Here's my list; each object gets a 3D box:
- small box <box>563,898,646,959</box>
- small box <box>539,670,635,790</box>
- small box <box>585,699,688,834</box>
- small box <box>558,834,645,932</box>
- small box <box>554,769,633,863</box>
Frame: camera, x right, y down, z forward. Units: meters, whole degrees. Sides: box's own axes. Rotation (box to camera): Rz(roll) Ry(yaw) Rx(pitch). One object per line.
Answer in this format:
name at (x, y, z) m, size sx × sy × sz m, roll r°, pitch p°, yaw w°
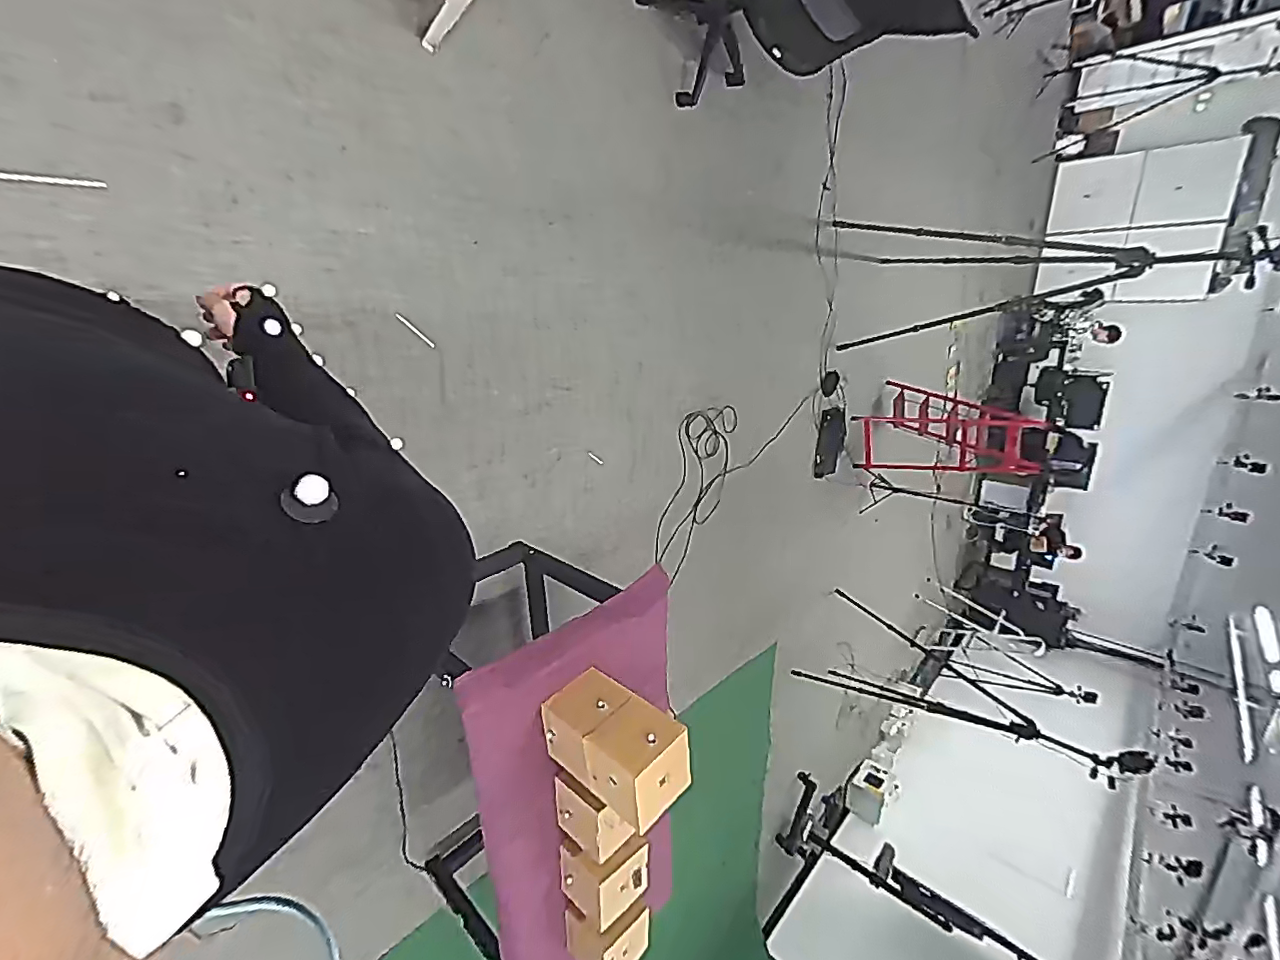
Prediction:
small box at (-0.103, 1.299, 1.568) m, size 0.179 × 0.176 × 0.168 m, roll -16°, pitch 112°, yaw -44°
small box at (-0.125, 0.607, 1.340) m, size 0.179 × 0.176 × 0.168 m, roll -23°, pitch 117°, yaw -40°
small box at (-0.012, 0.639, 1.229) m, size 0.179 × 0.176 × 0.168 m, roll -24°, pitch 118°, yaw -42°
small box at (-0.107, 1.066, 1.494) m, size 0.179 × 0.176 × 0.168 m, roll -15°, pitch 112°, yaw -43°
small box at (-0.106, 0.840, 1.428) m, size 0.179 × 0.176 × 0.168 m, roll -17°, pitch 113°, yaw -43°
